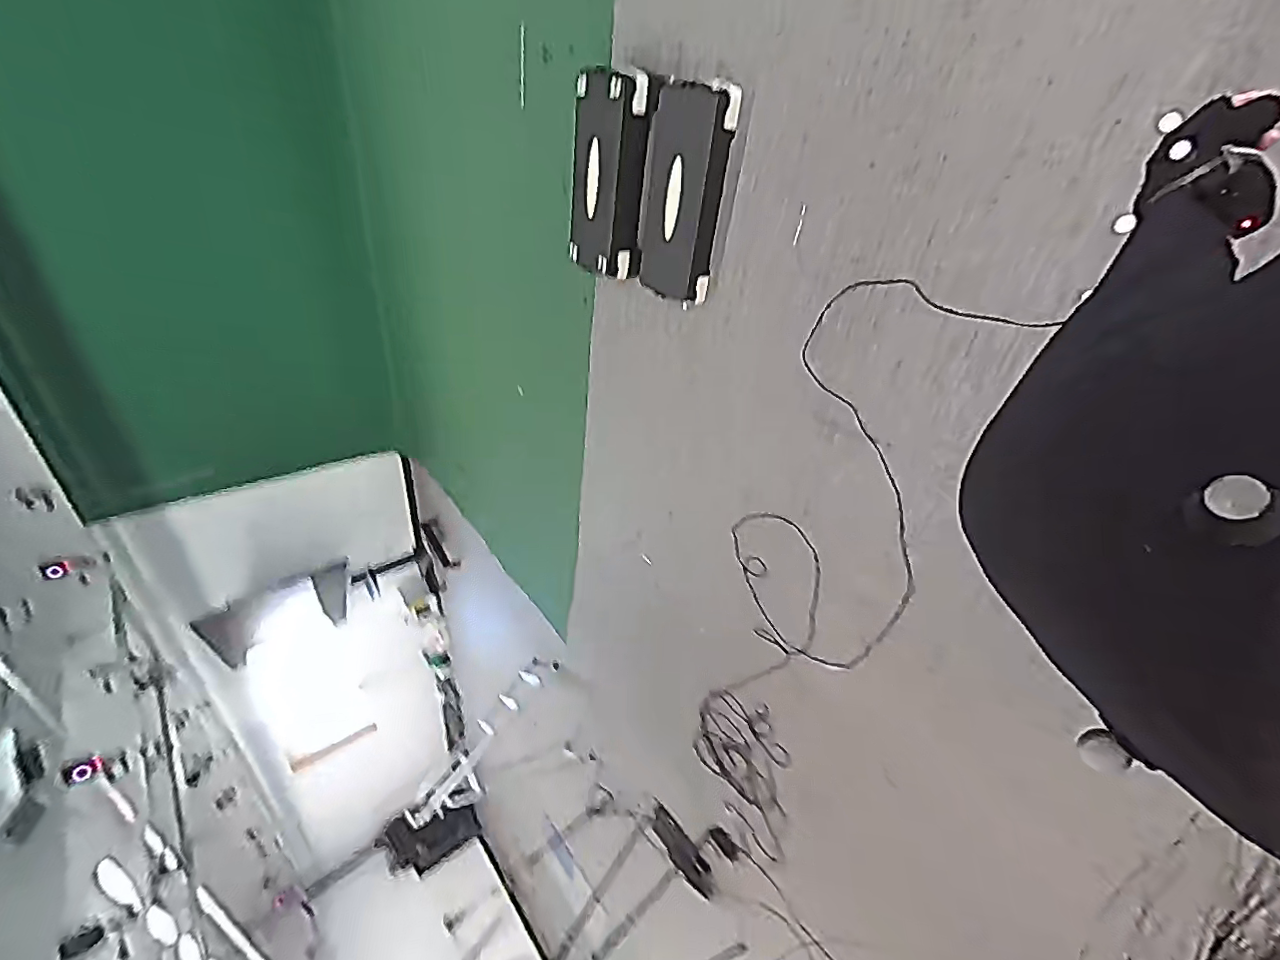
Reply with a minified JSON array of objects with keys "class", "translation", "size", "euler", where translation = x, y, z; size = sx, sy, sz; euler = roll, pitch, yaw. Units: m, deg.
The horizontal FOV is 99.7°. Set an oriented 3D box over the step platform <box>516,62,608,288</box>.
[{"class":"step platform","translation":[-0.288,-1.067,1.950],"size":[0.286,0.204,0.684],"euler":[37,135,36]}]
